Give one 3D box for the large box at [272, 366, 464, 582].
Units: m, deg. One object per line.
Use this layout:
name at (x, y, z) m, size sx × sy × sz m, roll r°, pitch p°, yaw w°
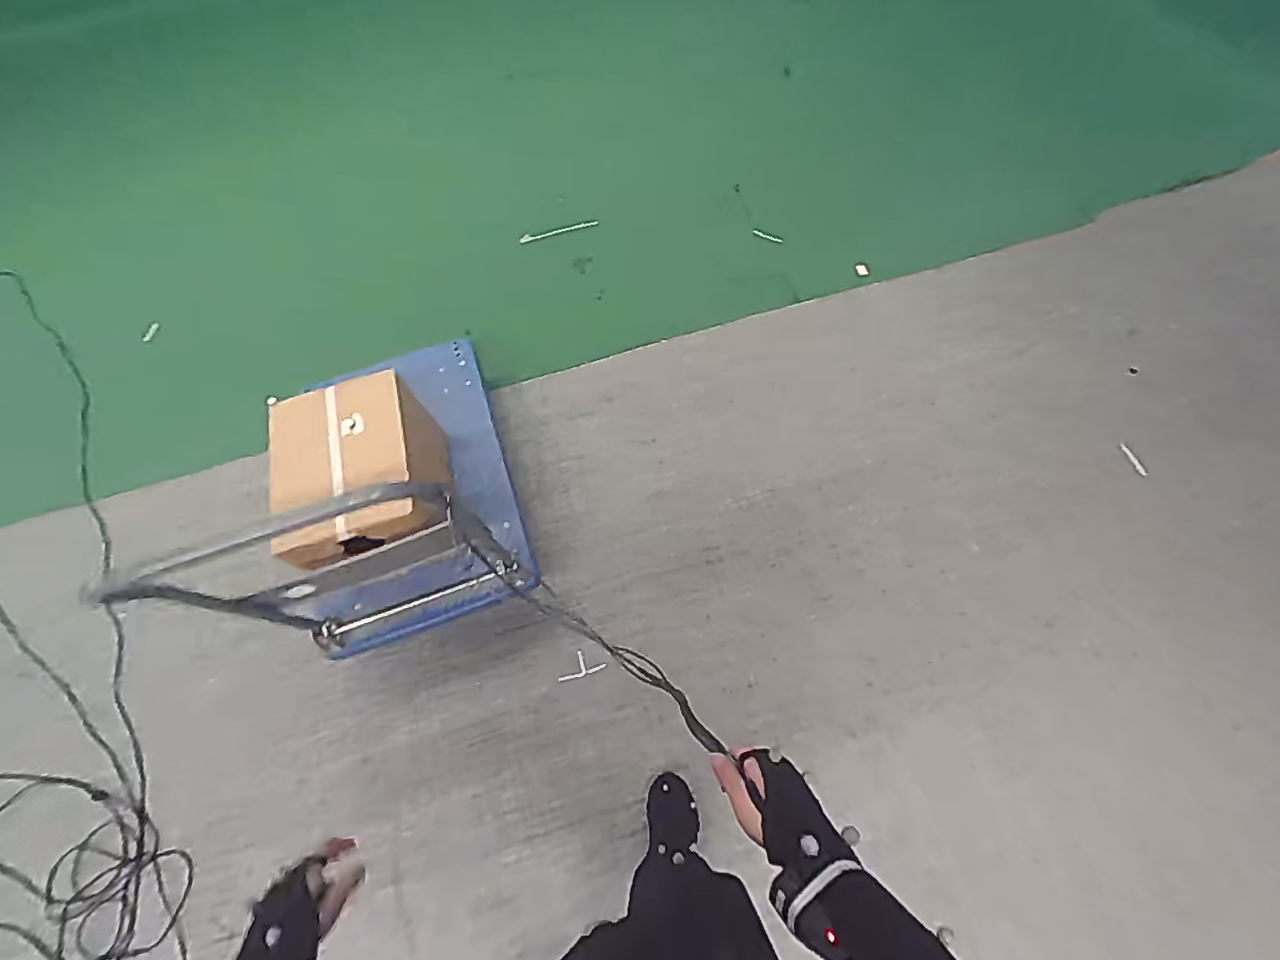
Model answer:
large box at (-0.676, -0.006, 1.371) m, size 0.320 × 0.320 × 0.408 m, roll -17°, pitch 65°, yaw -4°
